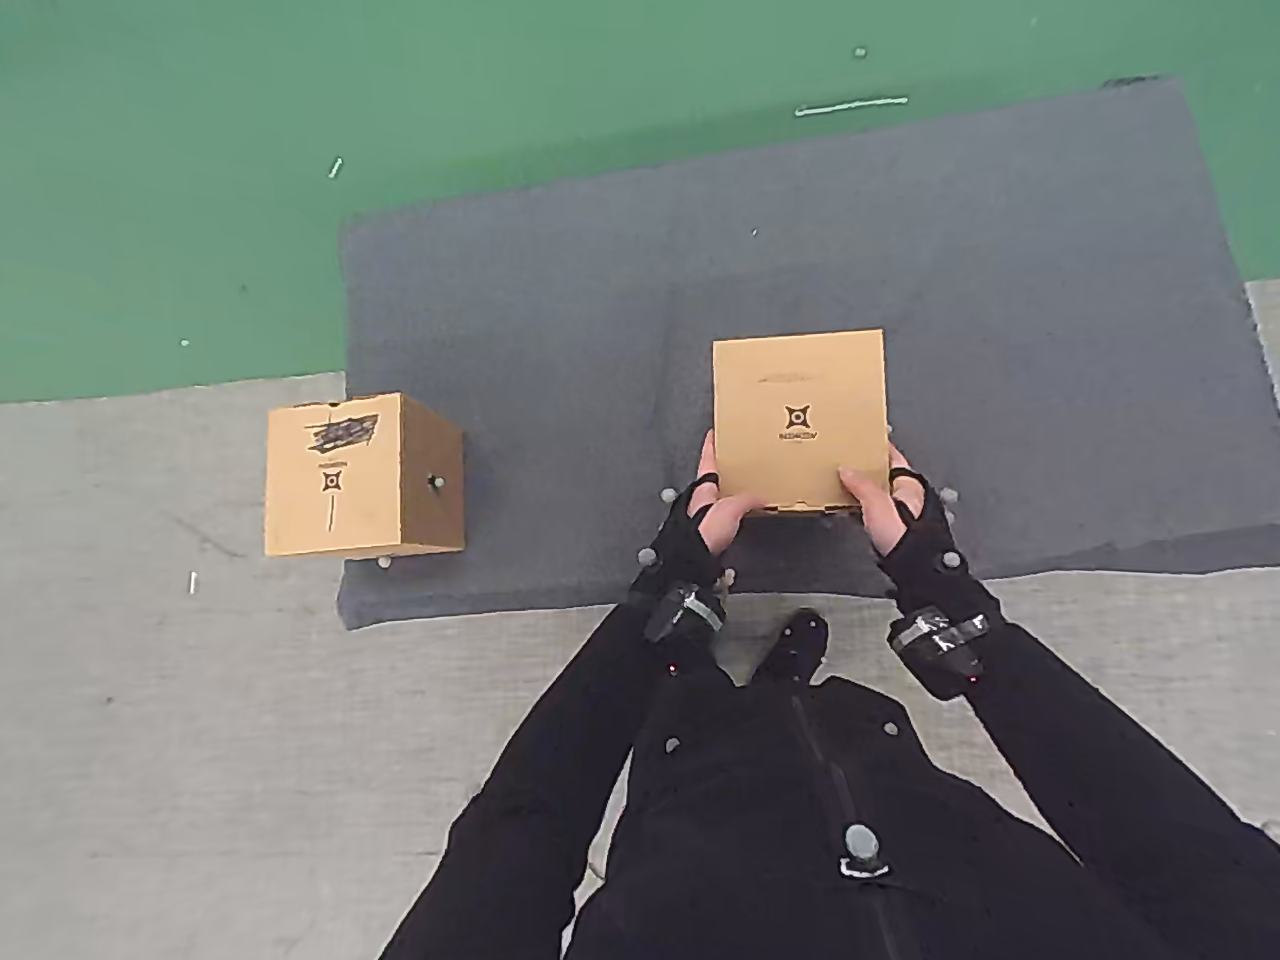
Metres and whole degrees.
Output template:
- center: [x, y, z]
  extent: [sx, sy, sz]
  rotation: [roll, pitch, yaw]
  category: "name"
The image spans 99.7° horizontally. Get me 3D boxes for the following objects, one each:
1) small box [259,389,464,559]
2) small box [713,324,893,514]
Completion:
- center: [-0.334, 0.003, 0.679]
  extent: [0.168, 0.176, 0.179]
  rotation: [-5, 79, 6]
  category: "small box"
- center: [0.168, -0.052, 0.598]
  extent: [0.168, 0.176, 0.179]
  rotation: [-2, 82, 10]
  category: "small box"
